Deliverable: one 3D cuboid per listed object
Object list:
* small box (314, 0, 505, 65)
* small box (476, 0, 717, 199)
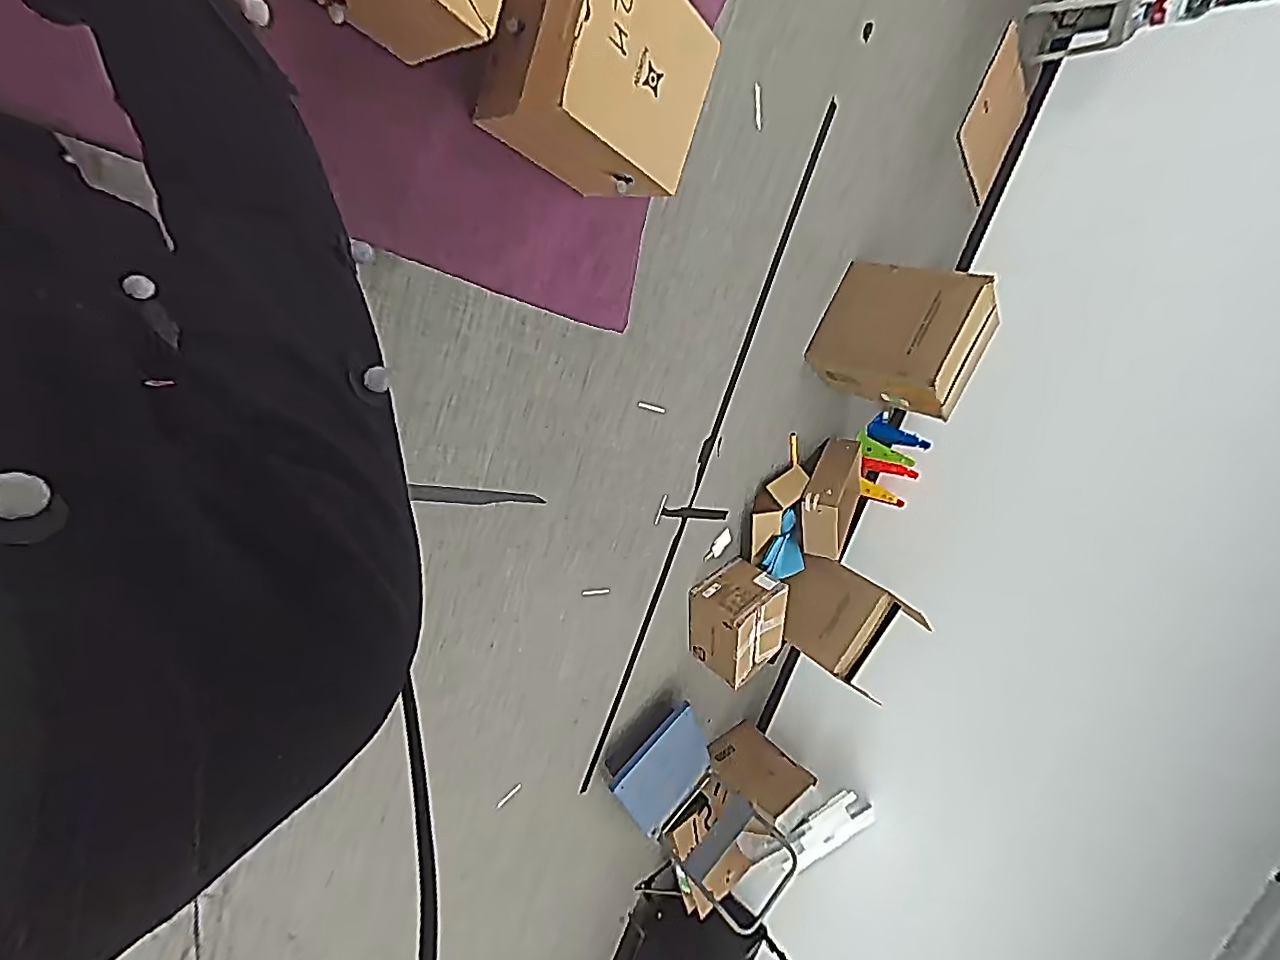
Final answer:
[{"bbox_3d":[-0.206,-0.474,0.417,0.179,0.176,0.168,9,104,-48],"label":"small box"},{"bbox_3d":[-0.050,-0.440,0.604,0.179,0.176,0.168,8,103,-49],"label":"small box"}]
